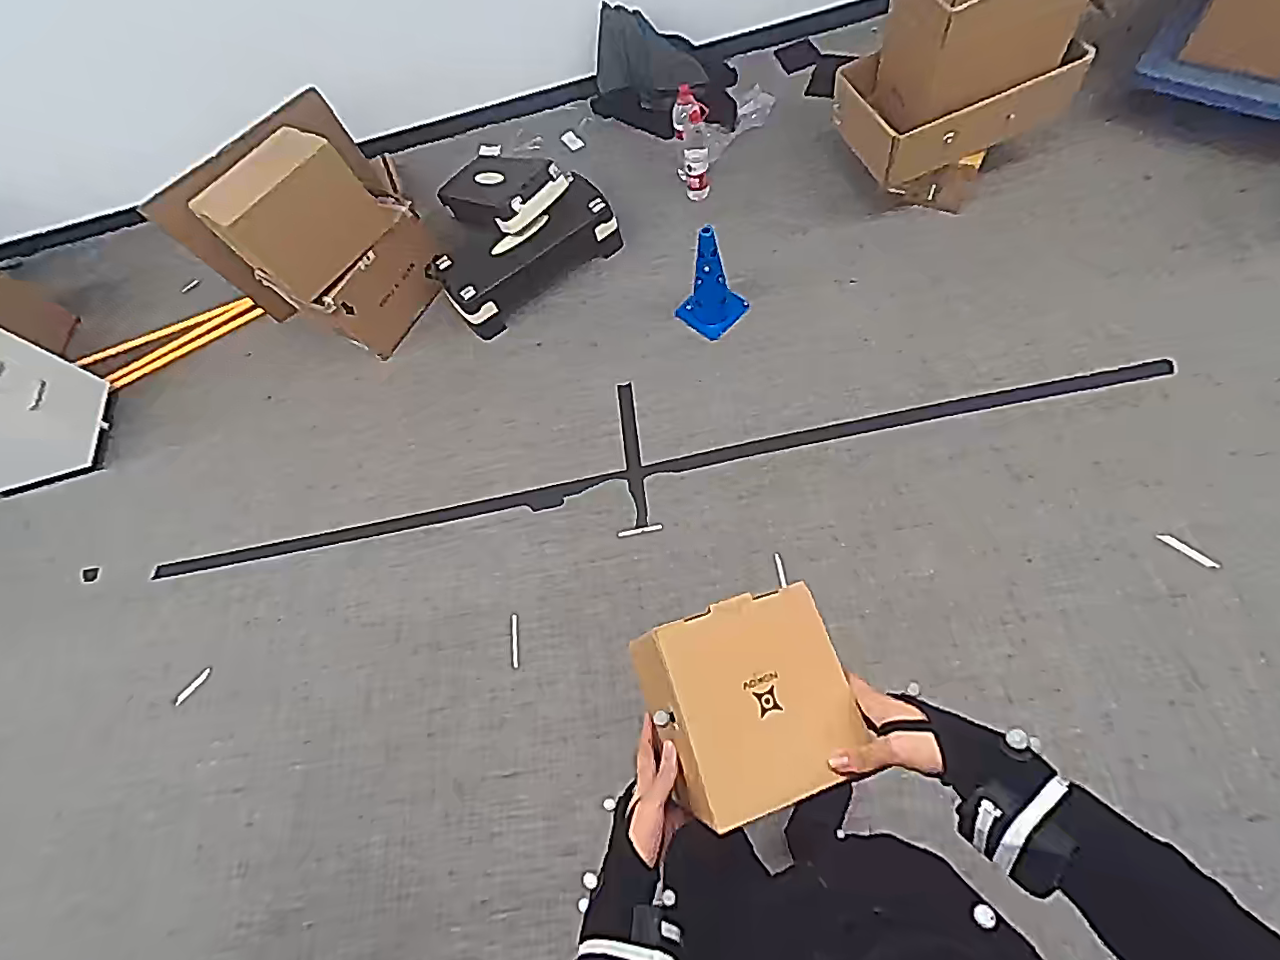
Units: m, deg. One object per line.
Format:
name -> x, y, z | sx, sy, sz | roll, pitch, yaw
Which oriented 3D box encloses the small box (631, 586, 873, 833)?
small box -> 0.099, 0.230, 0.569 | 0.168, 0.176, 0.179 | -13, 69, -15
